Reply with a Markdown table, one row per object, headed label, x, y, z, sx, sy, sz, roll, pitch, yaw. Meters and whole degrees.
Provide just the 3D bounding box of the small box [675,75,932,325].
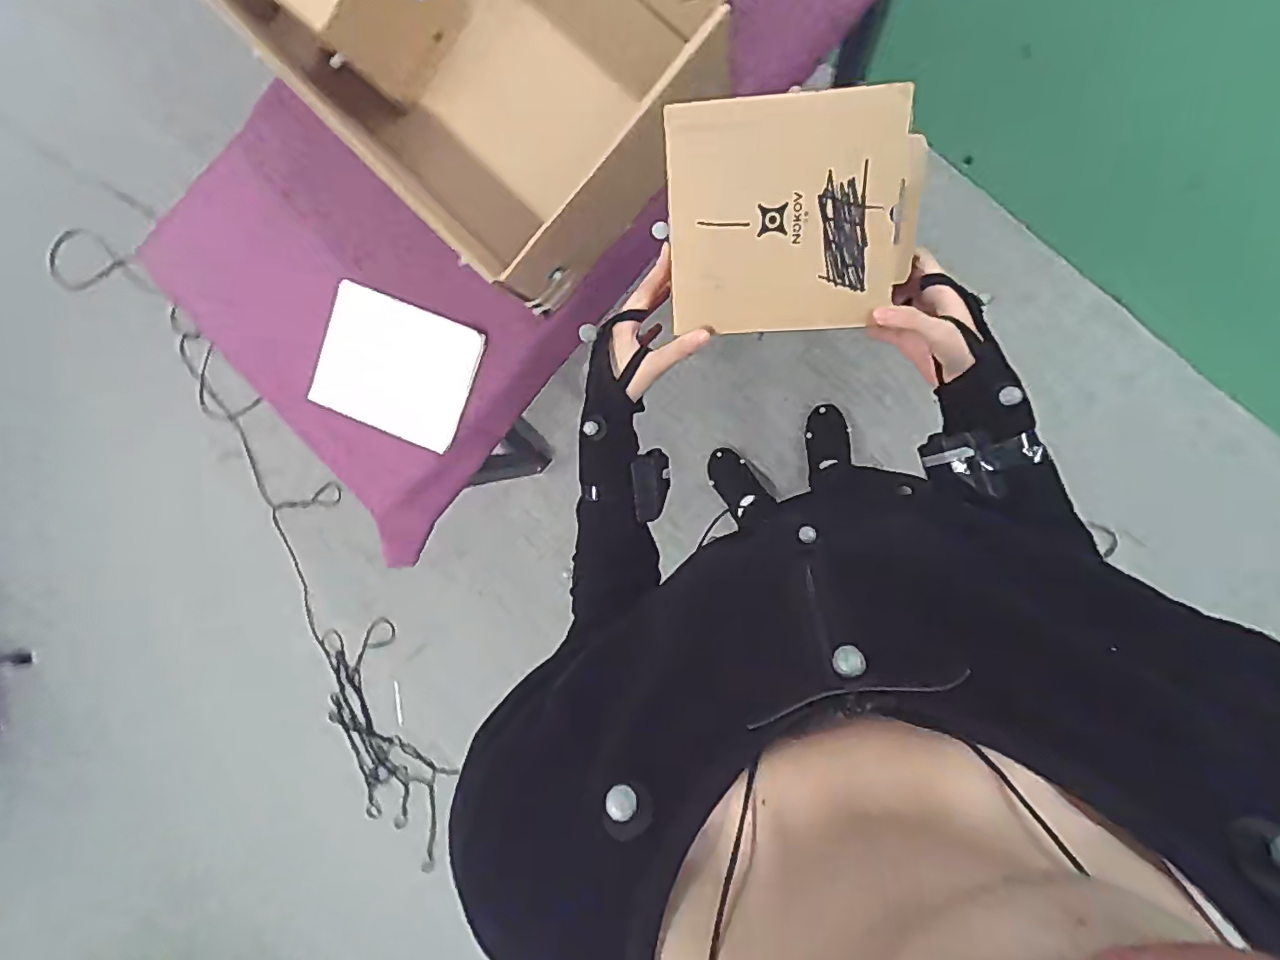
| label | x | y | z | sx | sy | sz | roll | pitch | yaw |
| --- | --- | --- | --- | --- | --- | --- | --- | --- | --- |
| small box | 0.121 | -0.231 | 0.477 | 0.179 | 0.176 | 0.168 | -1 | 111 | 4 |
